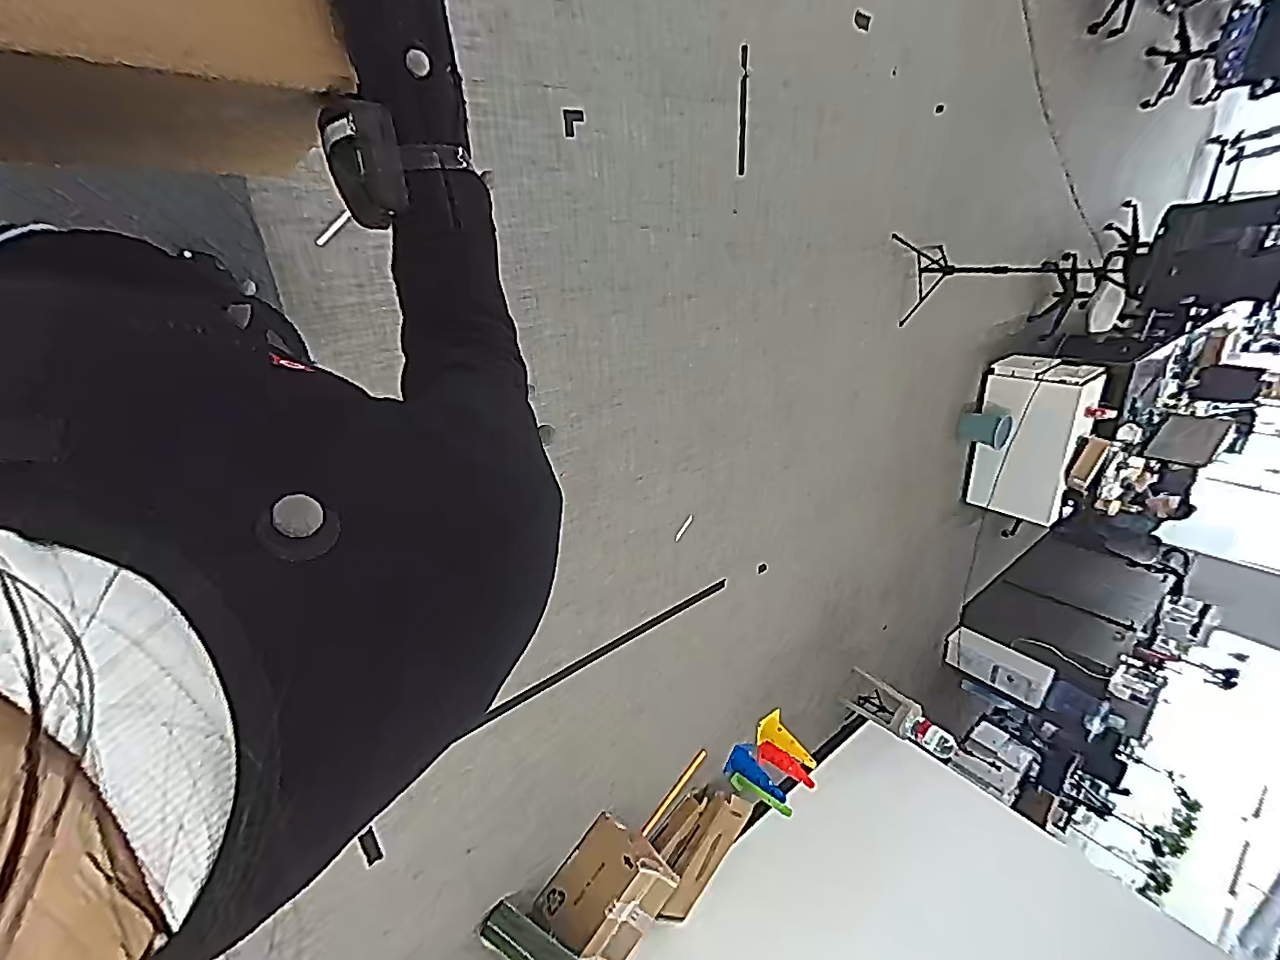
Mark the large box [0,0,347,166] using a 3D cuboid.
[{"bbox_3d":[-0.437,-0.367,0.277,0.408,0.320,0.320,-19,118,-35],"label":"large box"}]
